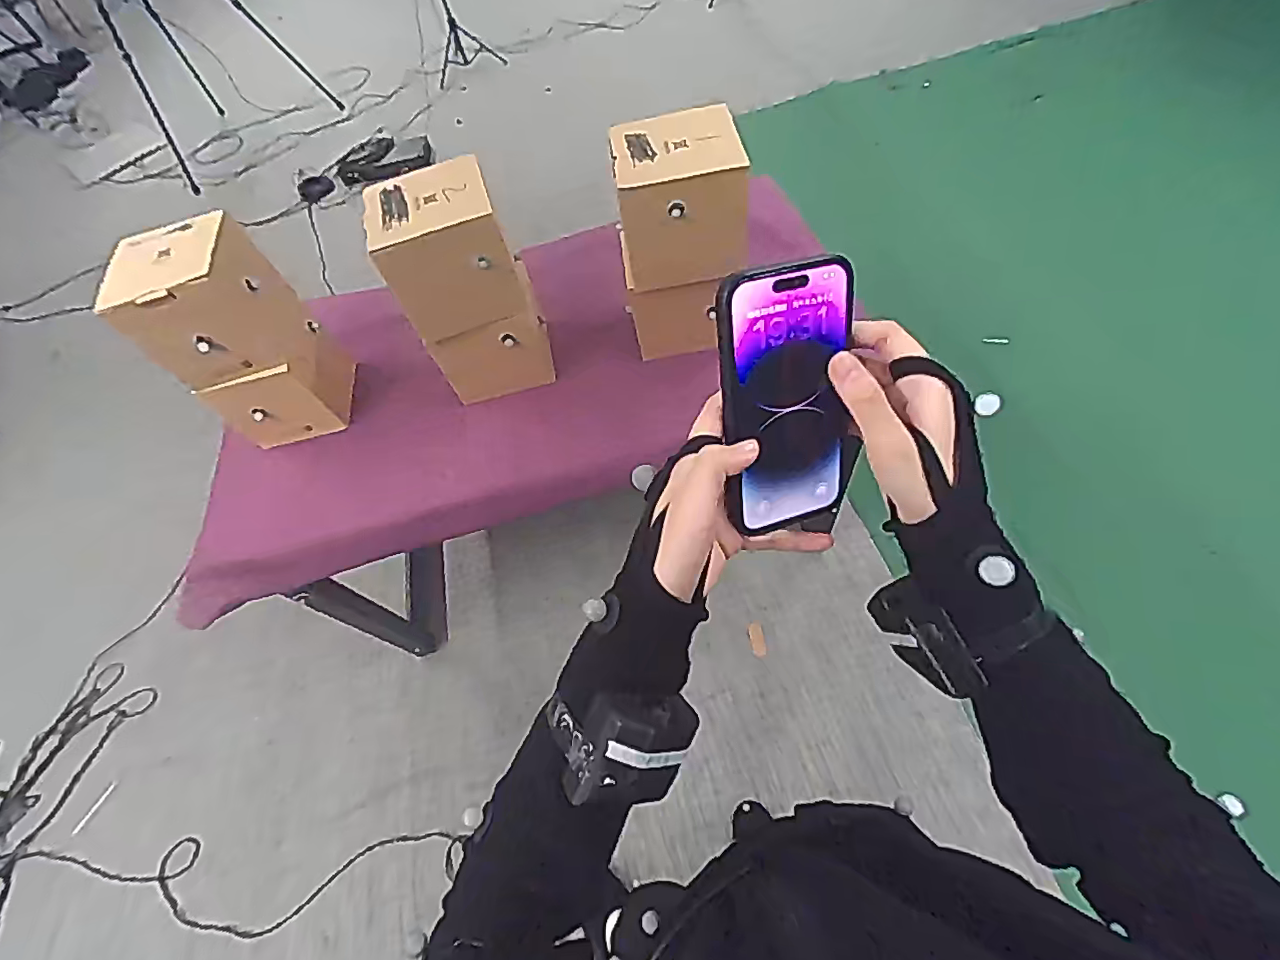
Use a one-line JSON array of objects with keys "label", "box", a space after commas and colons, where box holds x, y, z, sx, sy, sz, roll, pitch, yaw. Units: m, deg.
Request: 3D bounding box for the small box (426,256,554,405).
[{"label": "small box", "box": [-0.259, -0.260, 0.964, 0.179, 0.176, 0.168, -15, 57, 2]}]

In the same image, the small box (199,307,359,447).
[{"label": "small box", "box": [-0.641, -0.177, 0.987, 0.168, 0.176, 0.179, -14, 57, 2]}]

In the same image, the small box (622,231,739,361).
[{"label": "small box", "box": [0.073, -0.334, 0.949, 0.179, 0.176, 0.168, -10, 57, 6]}]

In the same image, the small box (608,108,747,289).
[{"label": "small box", "box": [0.058, -0.408, 0.803, 0.179, 0.176, 0.168, -9, 57, 4]}]

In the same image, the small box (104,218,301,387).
[{"label": "small box", "box": [-0.669, -0.269, 0.853, 0.168, 0.176, 0.179, -18, 58, -2]}]
